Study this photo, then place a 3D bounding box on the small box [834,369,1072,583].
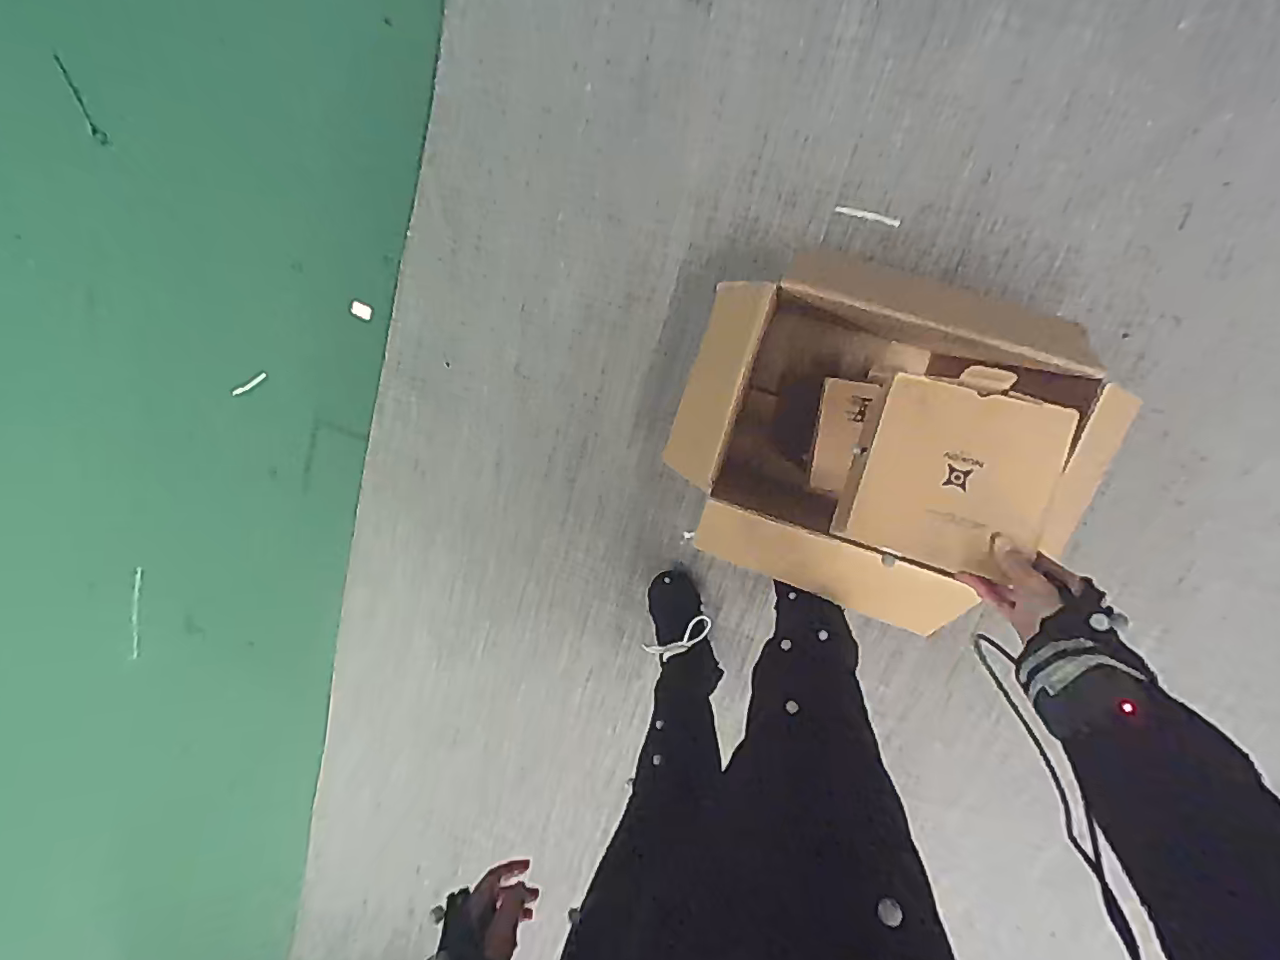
[{"bbox_3d":[0.327,0.000,0.604,0.168,0.176,0.179,17,89,16],"label":"small box"}]
